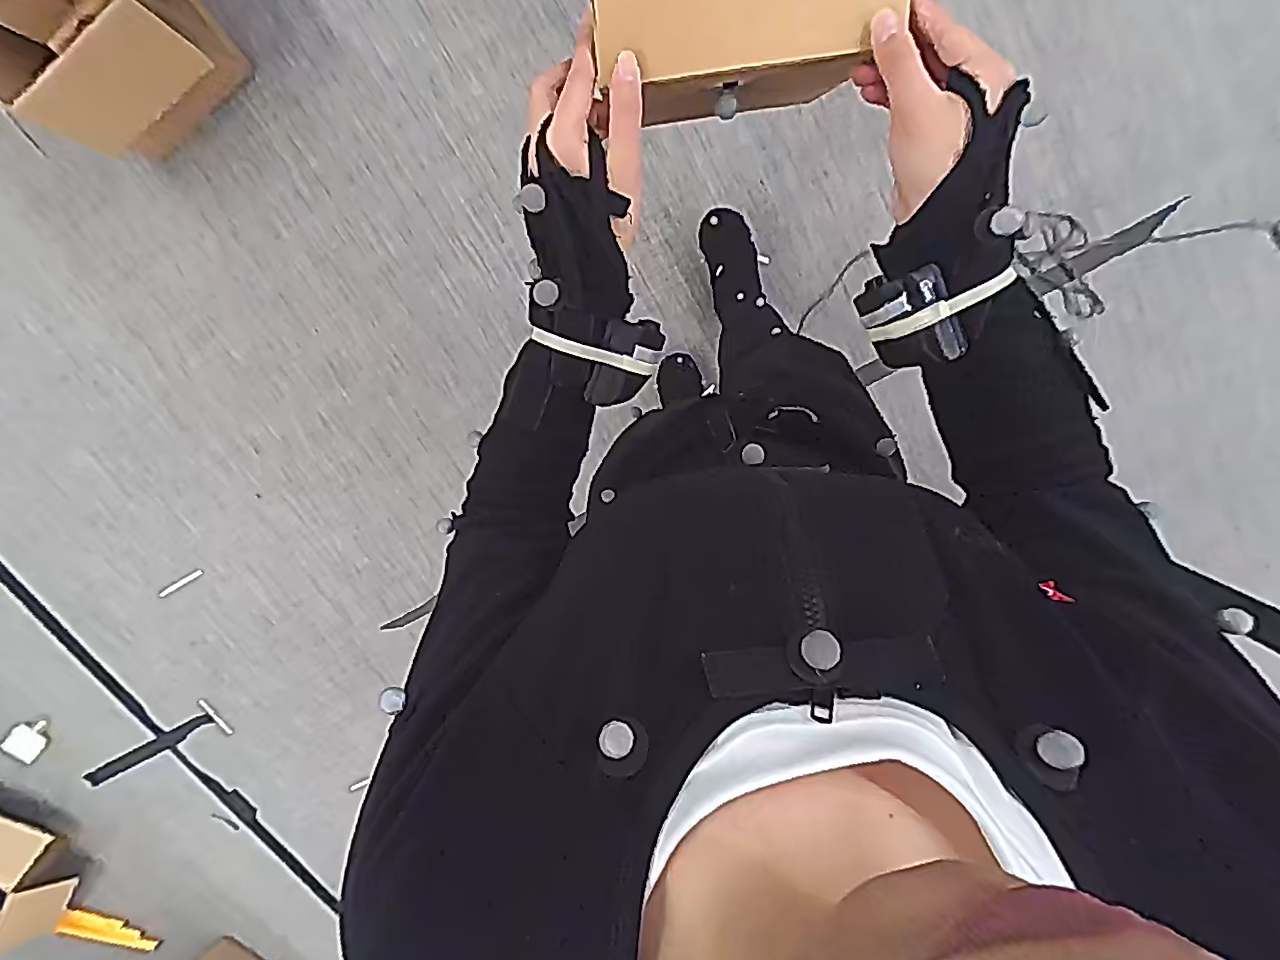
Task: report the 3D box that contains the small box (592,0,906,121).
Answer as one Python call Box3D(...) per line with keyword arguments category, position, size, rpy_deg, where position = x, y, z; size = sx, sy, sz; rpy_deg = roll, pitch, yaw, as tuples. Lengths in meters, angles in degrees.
Box3D(category="small box", position=(0.053, -0.347, 0.346), size=(0.179, 0.176, 0.168), rpy_deg=(-7, 116, 3))
